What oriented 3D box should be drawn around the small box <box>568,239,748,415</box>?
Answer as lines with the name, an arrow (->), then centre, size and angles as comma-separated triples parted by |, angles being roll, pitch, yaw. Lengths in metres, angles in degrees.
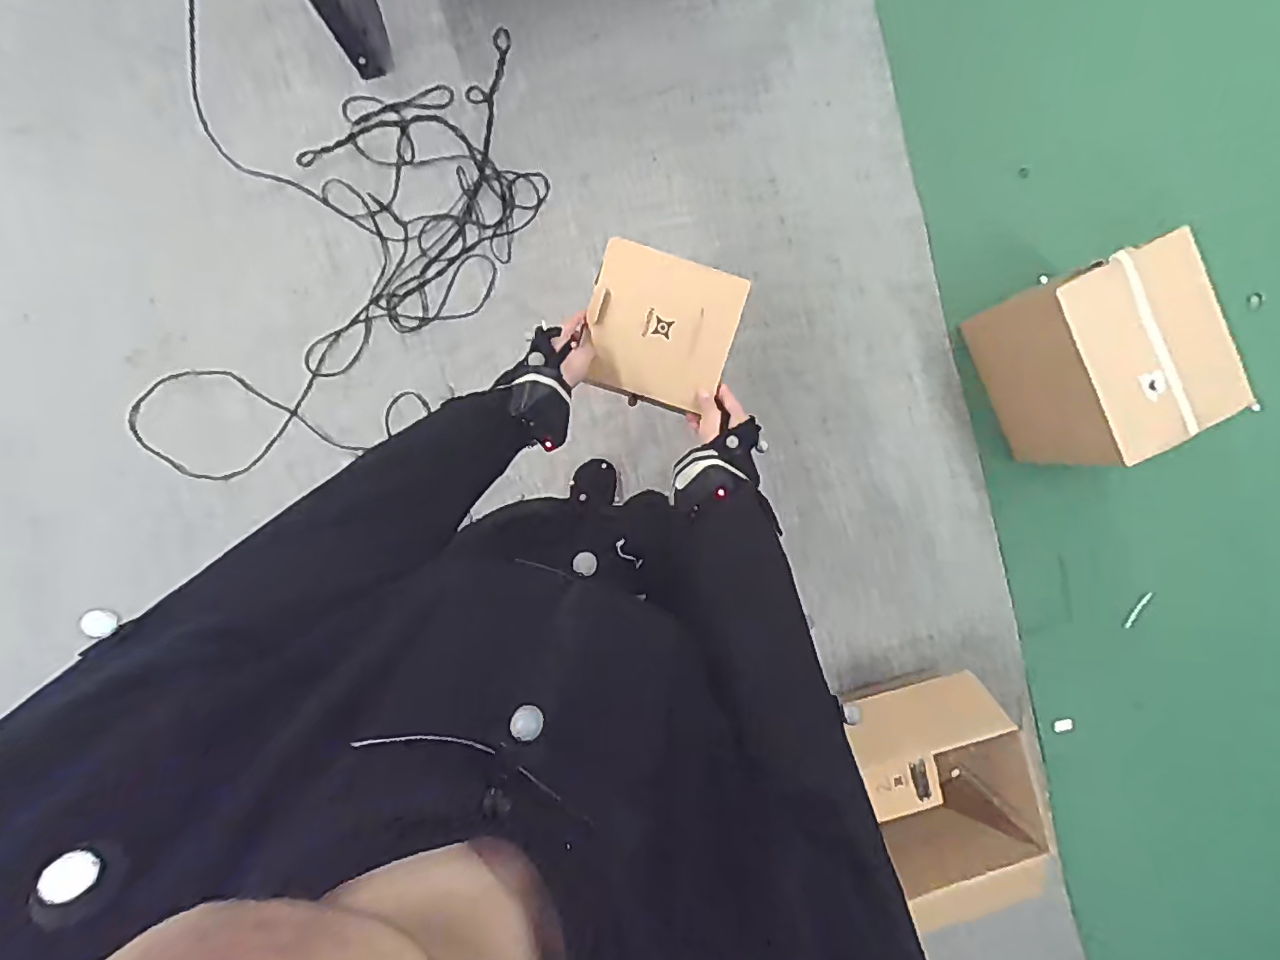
small box -> 0.019, -0.185, 0.709 | 0.179, 0.176, 0.168 | 16, 96, -3
